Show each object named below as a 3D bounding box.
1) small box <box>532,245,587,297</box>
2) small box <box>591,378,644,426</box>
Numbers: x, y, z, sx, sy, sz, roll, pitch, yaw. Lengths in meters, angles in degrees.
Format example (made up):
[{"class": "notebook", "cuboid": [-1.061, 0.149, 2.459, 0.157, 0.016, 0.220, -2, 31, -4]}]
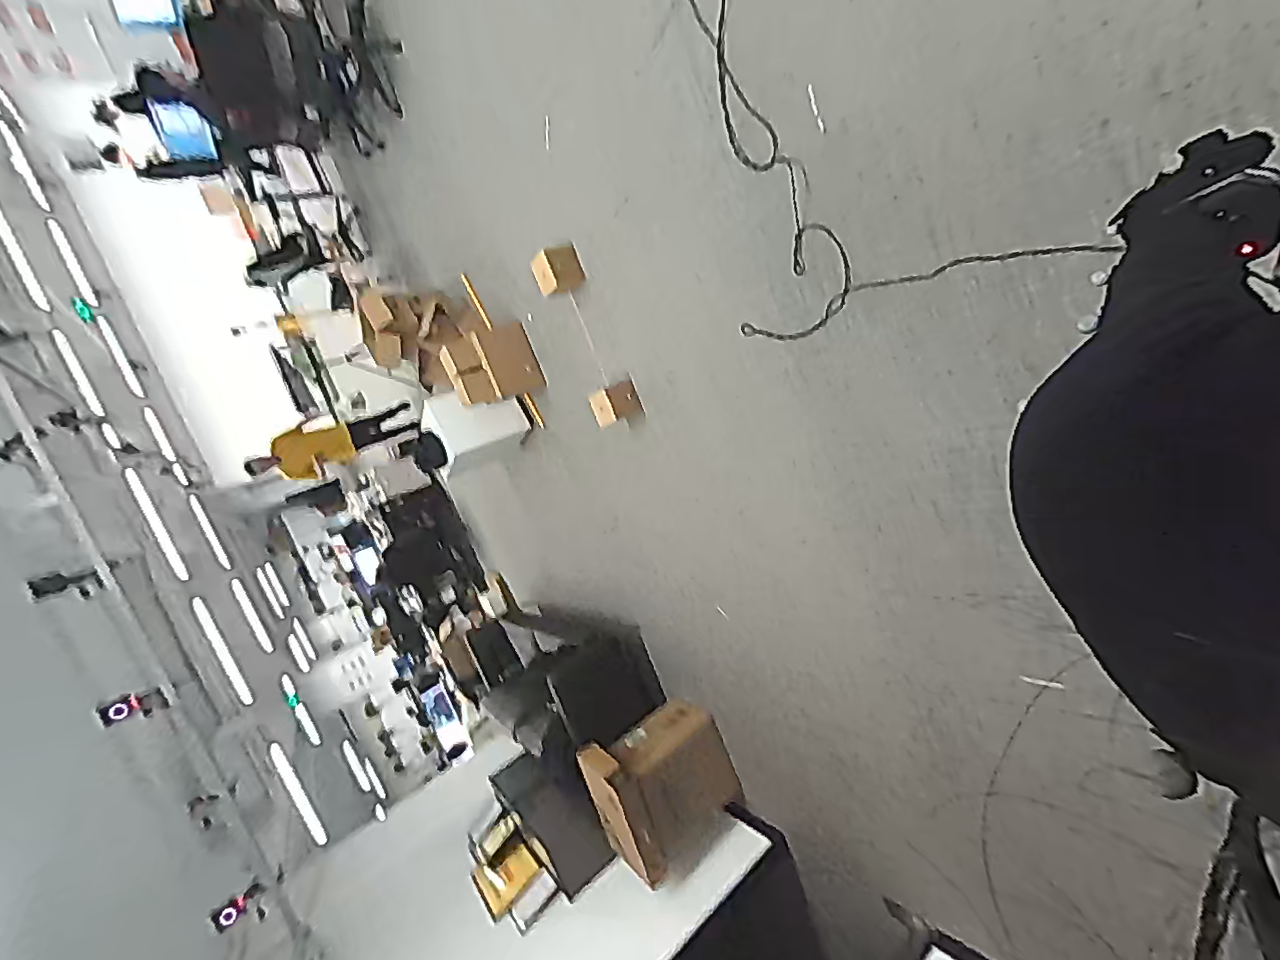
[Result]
[{"class": "small box", "cuboid": [-0.386, -1.009, 2.598, 0.168, 0.176, 0.179, -13, 102, 58]}, {"class": "small box", "cuboid": [-0.110, -0.384, 2.660, 0.179, 0.176, 0.168, -13, 102, 58]}]
